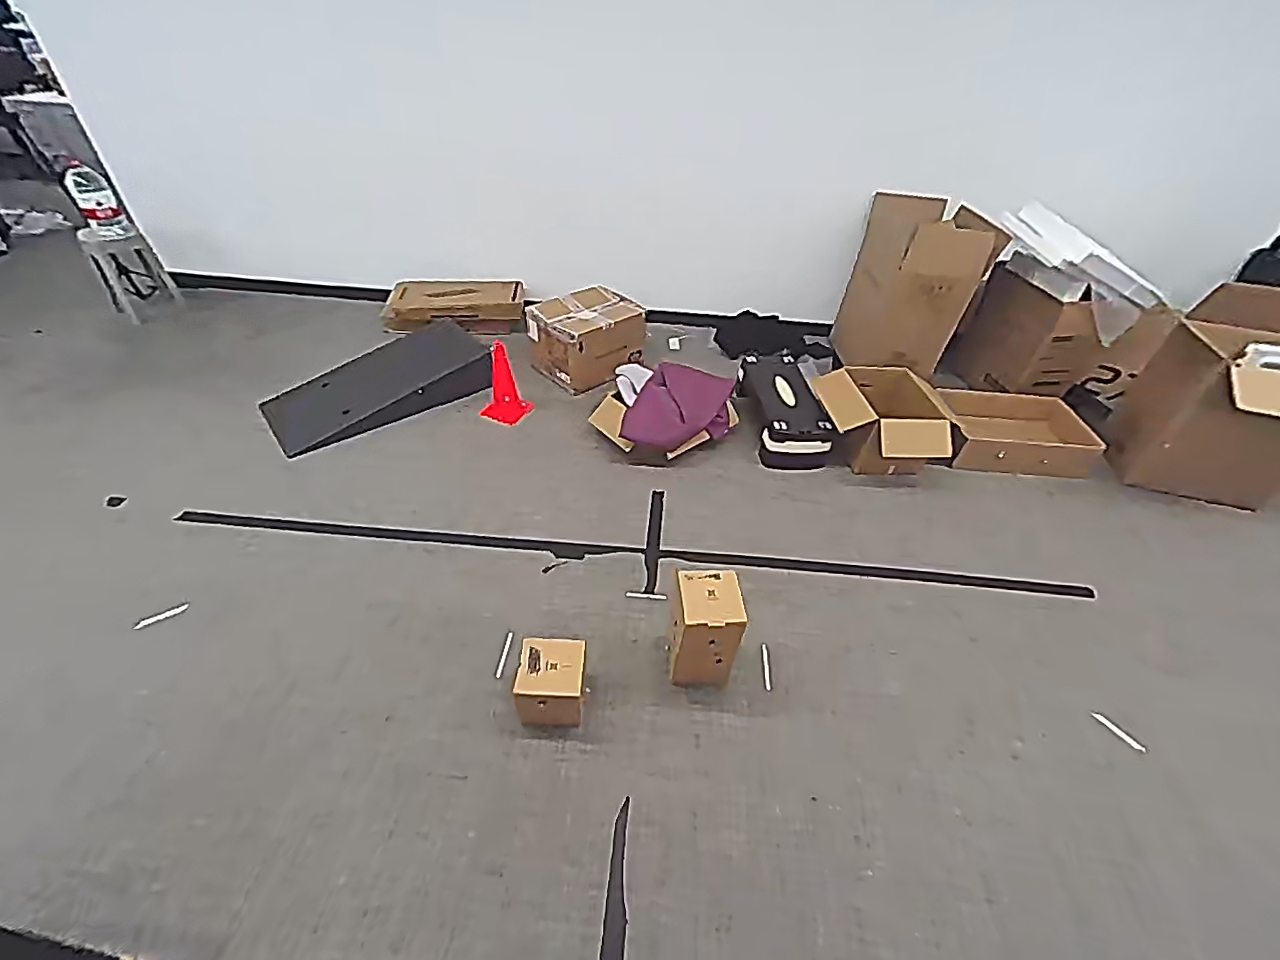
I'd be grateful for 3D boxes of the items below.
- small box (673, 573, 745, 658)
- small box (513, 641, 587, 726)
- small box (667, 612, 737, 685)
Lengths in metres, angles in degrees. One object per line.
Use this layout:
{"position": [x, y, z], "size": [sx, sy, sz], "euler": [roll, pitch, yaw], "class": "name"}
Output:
{"position": [0.185, 0.379, 1.502], "size": [0.168, 0.176, 0.179], "euler": [0, 42, -4], "class": "small box"}
{"position": [-0.242, 0.566, 1.501], "size": [0.179, 0.176, 0.168], "euler": [3, 41, -1], "class": "small box"}
{"position": [0.179, 0.496, 1.616], "size": [0.179, 0.176, 0.168], "euler": [1, 41, -3], "class": "small box"}
